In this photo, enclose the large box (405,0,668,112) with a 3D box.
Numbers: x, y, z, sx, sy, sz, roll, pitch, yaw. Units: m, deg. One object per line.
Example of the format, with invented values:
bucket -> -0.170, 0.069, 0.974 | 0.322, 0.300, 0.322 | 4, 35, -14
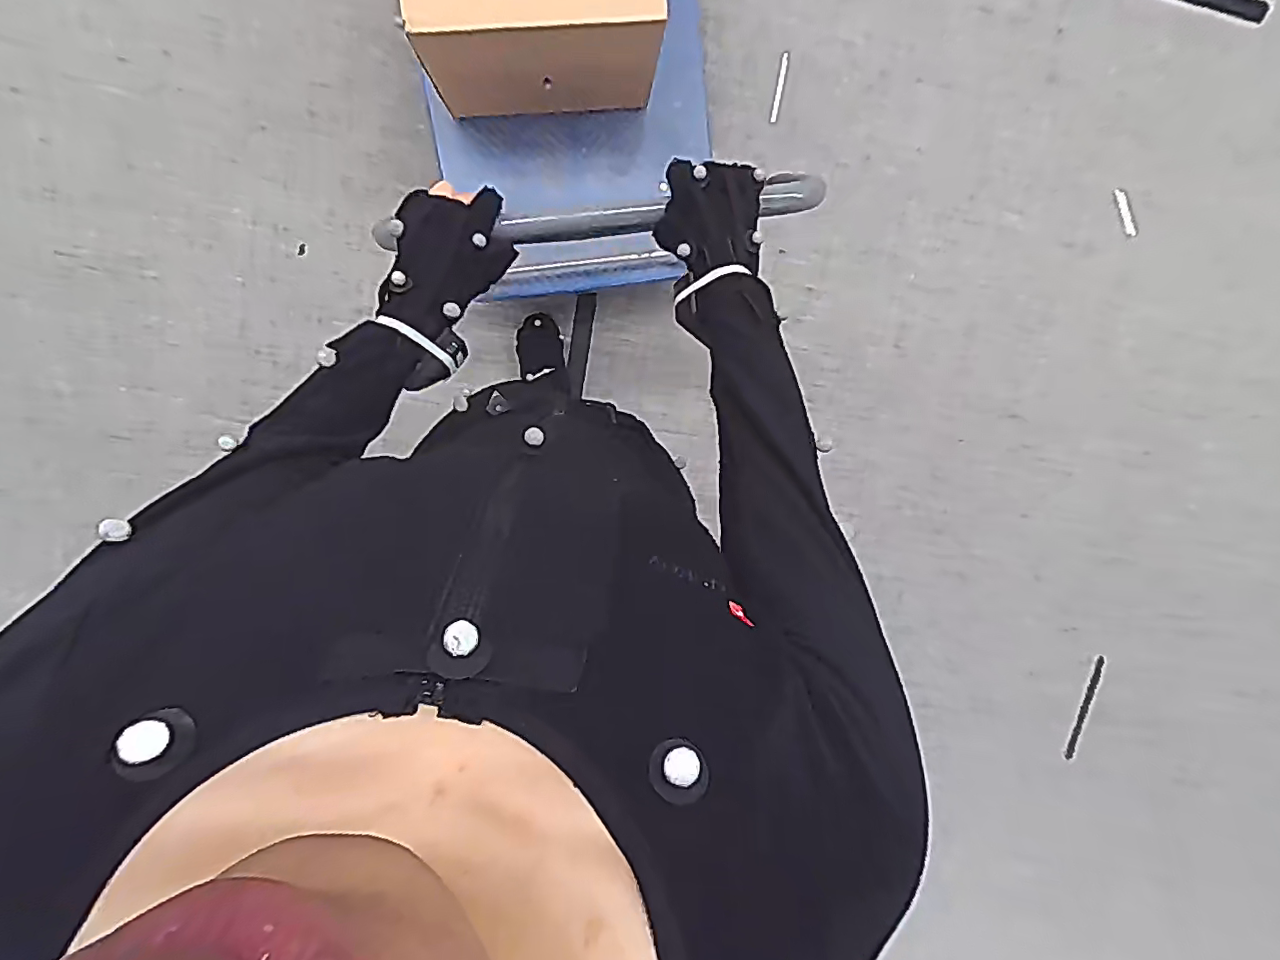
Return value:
large box -> -0.178, -0.882, 0.938 | 0.408, 0.320, 0.320 | -6, 104, -3
